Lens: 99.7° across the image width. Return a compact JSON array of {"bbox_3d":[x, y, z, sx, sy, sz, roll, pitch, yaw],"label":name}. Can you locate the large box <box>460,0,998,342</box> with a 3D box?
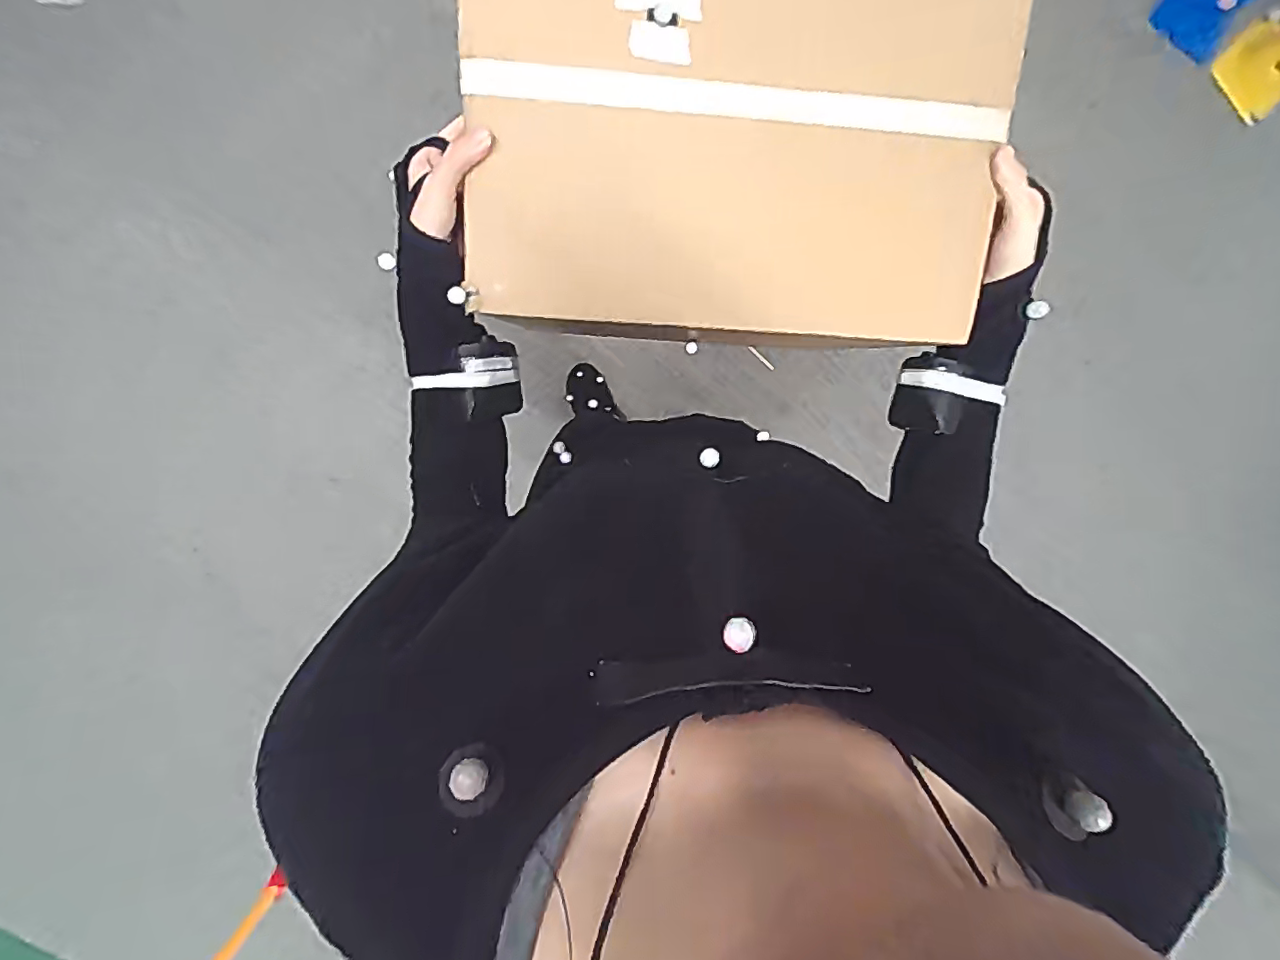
[{"bbox_3d":[0.058,-0.309,0.558,0.408,0.320,0.320,2,102,-4],"label":"large box"}]
